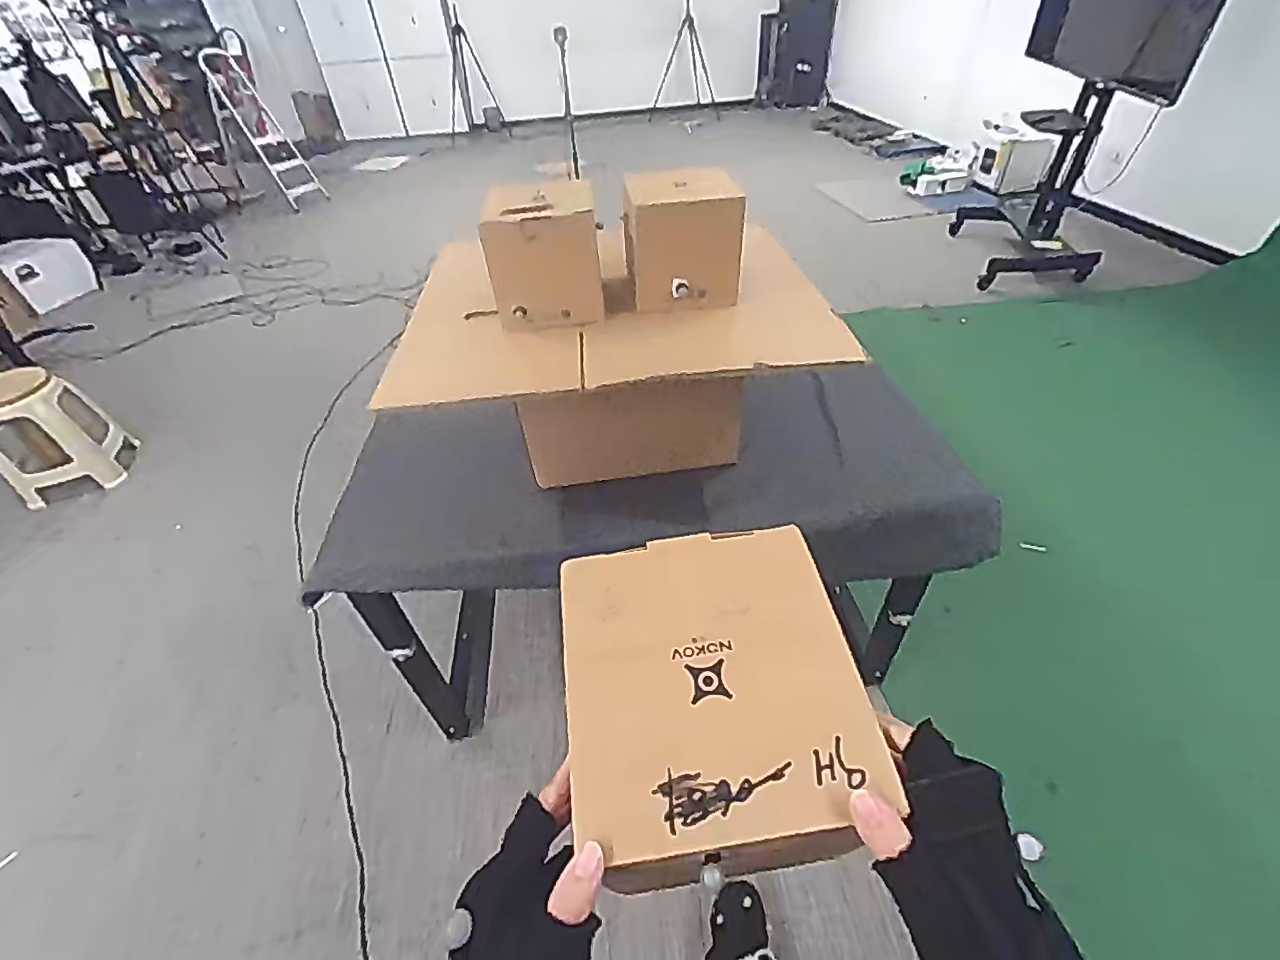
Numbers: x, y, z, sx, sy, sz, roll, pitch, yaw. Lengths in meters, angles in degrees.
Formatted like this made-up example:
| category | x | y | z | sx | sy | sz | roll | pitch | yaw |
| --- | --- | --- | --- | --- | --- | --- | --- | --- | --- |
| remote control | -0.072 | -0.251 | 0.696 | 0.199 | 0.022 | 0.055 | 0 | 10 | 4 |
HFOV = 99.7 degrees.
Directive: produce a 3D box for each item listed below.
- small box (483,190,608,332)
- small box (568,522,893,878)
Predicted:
| category | x | y | z | sx | sy | sz | roll | pitch | yaw |
| --- | --- | --- | --- | --- | --- | --- | --- | --- | --- |
| small box | -0.145 | -0.352 | 0.881 | 0.168 | 0.176 | 0.179 | -6 | 42 | -2 |
| small box | 0.045 | 0.157 | 0.385 | 0.168 | 0.176 | 0.179 | -9 | 49 | 0 |
